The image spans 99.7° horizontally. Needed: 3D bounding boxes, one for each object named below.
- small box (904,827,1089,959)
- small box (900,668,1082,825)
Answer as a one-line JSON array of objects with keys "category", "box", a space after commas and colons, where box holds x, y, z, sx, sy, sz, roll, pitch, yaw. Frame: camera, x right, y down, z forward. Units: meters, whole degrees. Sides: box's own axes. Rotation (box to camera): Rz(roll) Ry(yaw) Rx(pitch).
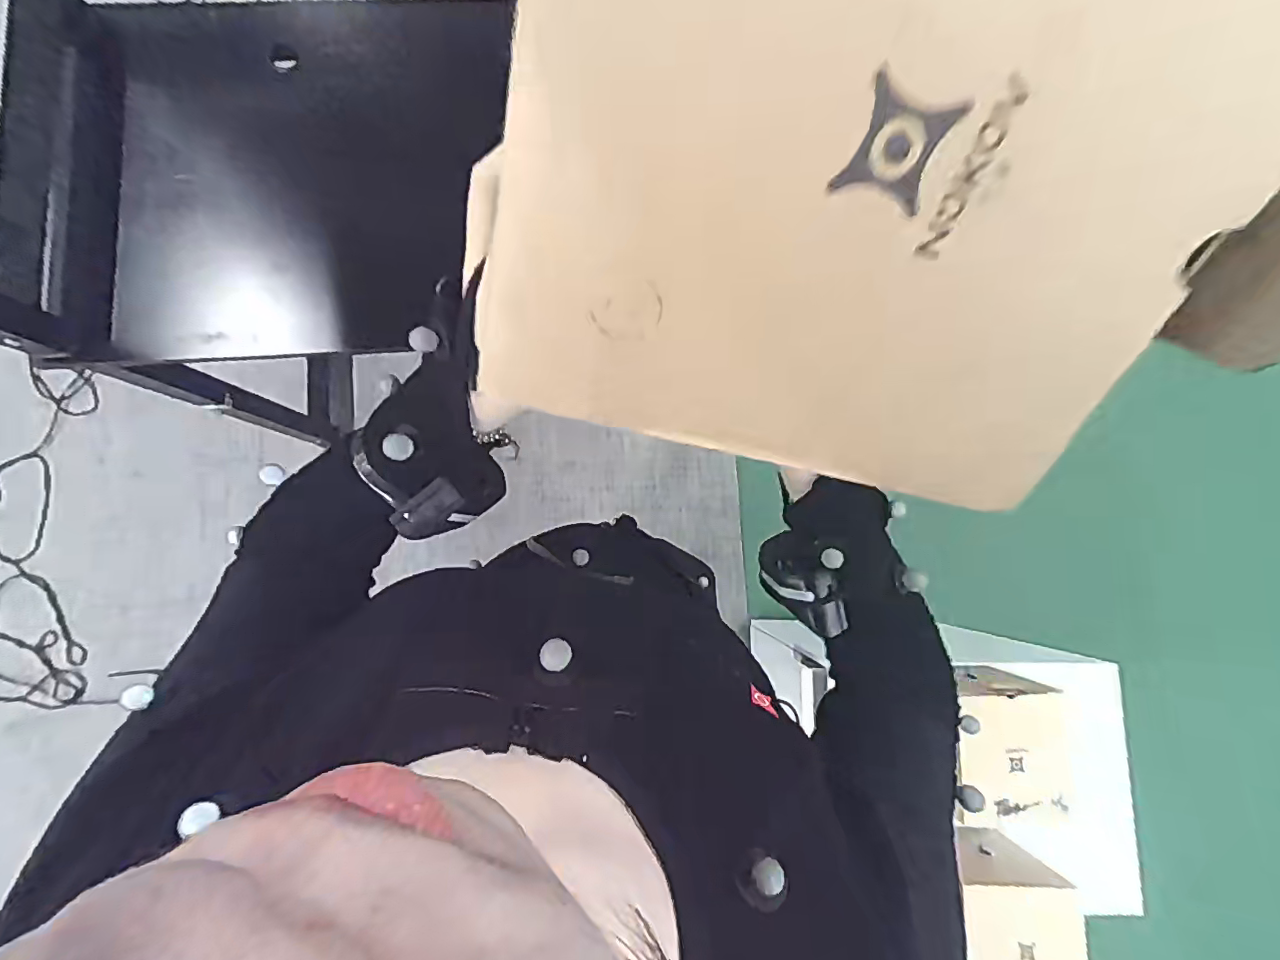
[{"category": "small box", "box": [0.504, 0.635, 0.785, 0.168, 0.176, 0.179, 3, 83, -1]}, {"category": "small box", "box": [0.514, 0.388, 0.819, 0.168, 0.176, 0.179, 0, 83, -2]}]
